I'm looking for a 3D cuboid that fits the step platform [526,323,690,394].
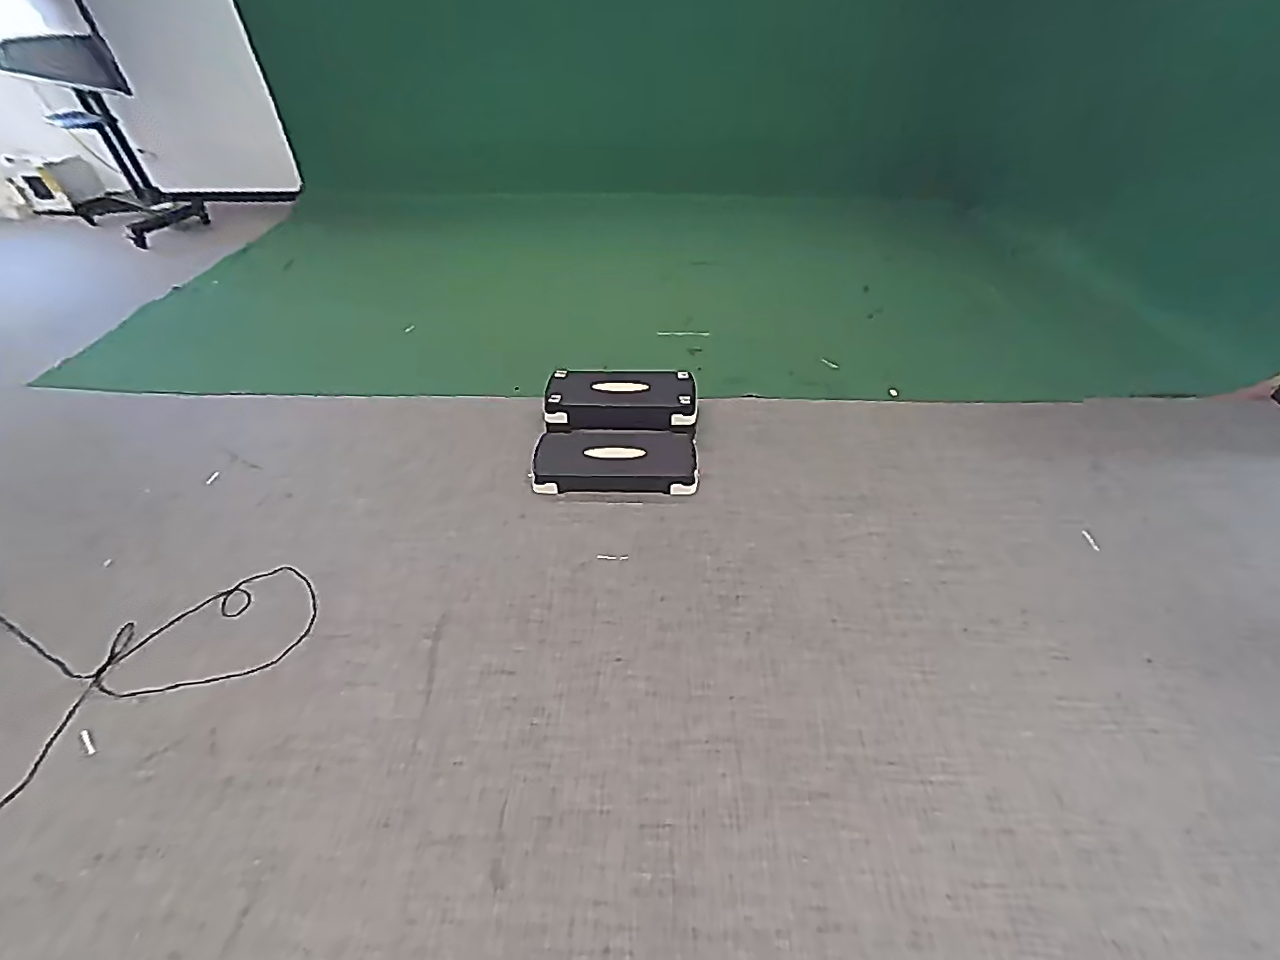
[{"bbox_3d":[-0.131,-0.520,2.326,0.684,0.204,0.286,0,44,1],"label":"step platform"}]
